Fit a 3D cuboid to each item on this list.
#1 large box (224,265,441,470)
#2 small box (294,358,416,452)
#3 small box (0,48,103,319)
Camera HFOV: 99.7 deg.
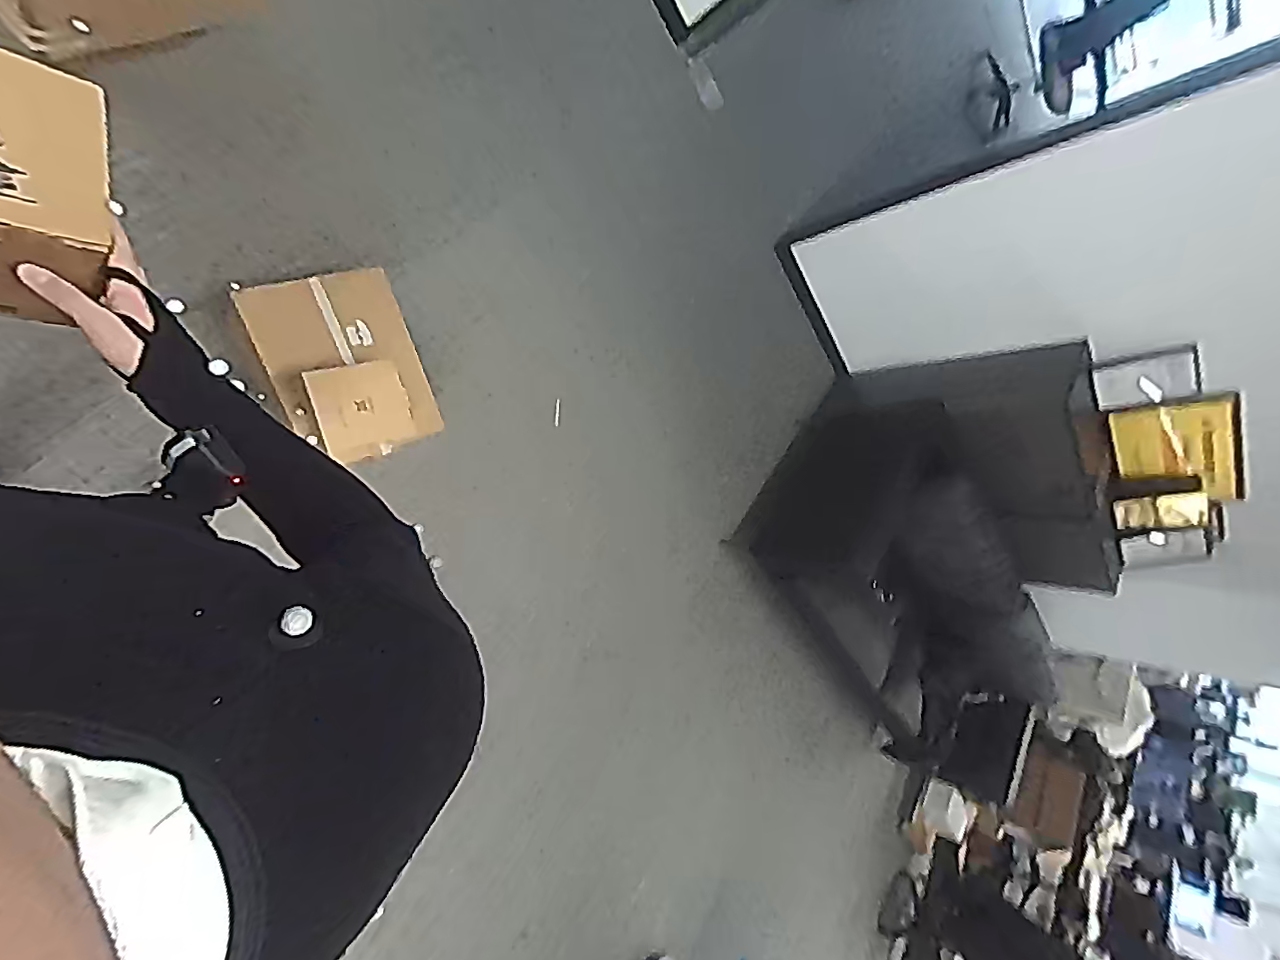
[{"bbox_3d":[-0.758,-0.264,1.337,0.320,0.320,0.408,-28,108,-36],"label":"large box"},{"bbox_3d":[-0.607,-0.159,1.148,0.179,0.176,0.168,-19,104,-35],"label":"small box"},{"bbox_3d":[-0.608,-0.269,0.487,0.168,0.176,0.179,-2,76,-50],"label":"small box"}]
